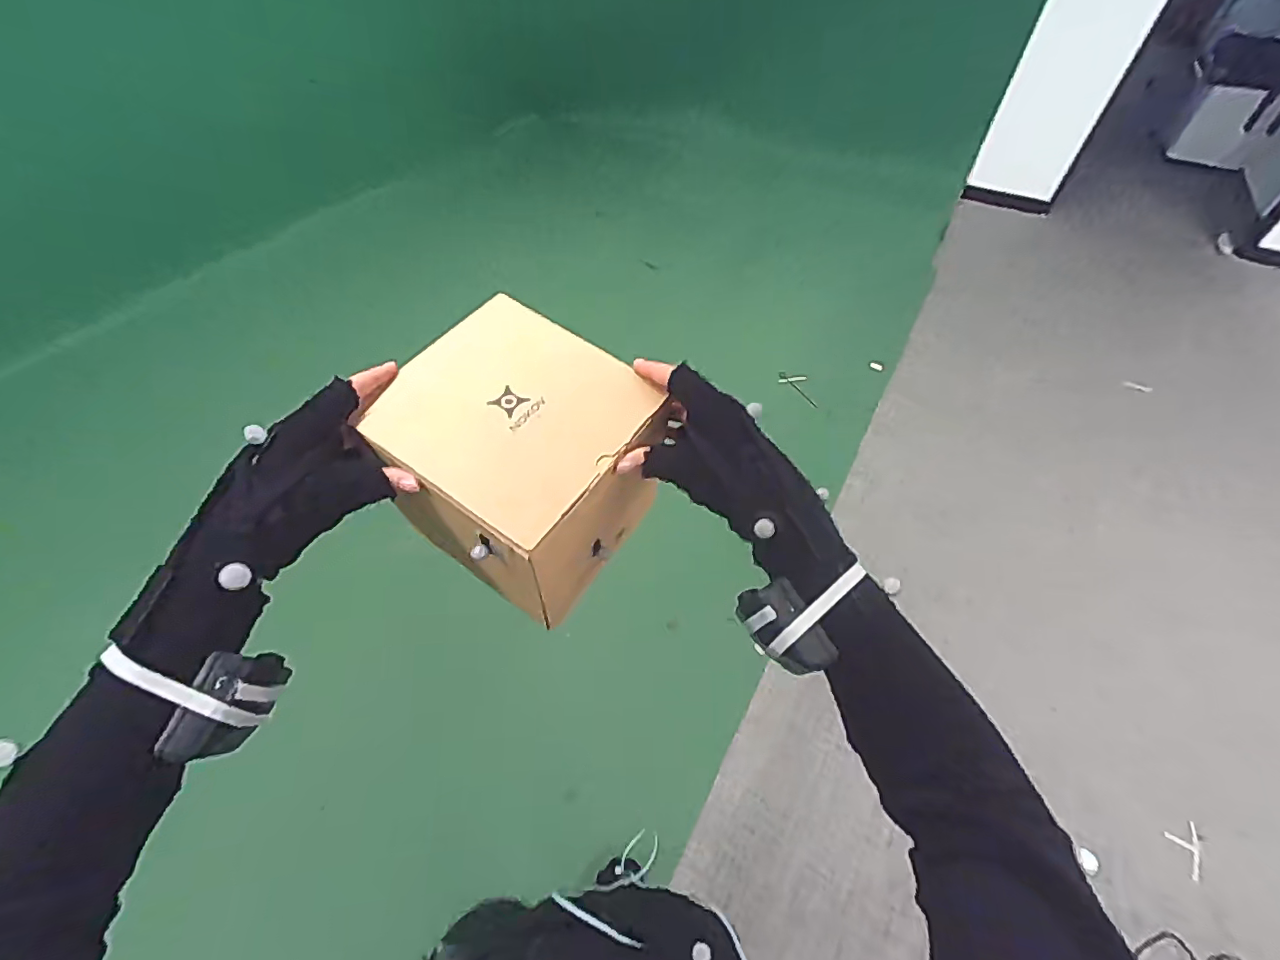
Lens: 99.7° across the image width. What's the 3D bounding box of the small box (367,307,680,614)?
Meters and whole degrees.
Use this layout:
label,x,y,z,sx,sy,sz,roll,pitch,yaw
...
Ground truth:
label,x,y,z,sx,sy,sz,roll,pitch,yaw
small box,-0.090,-0.009,0.473,0.179,0.176,0.168,33,62,14
